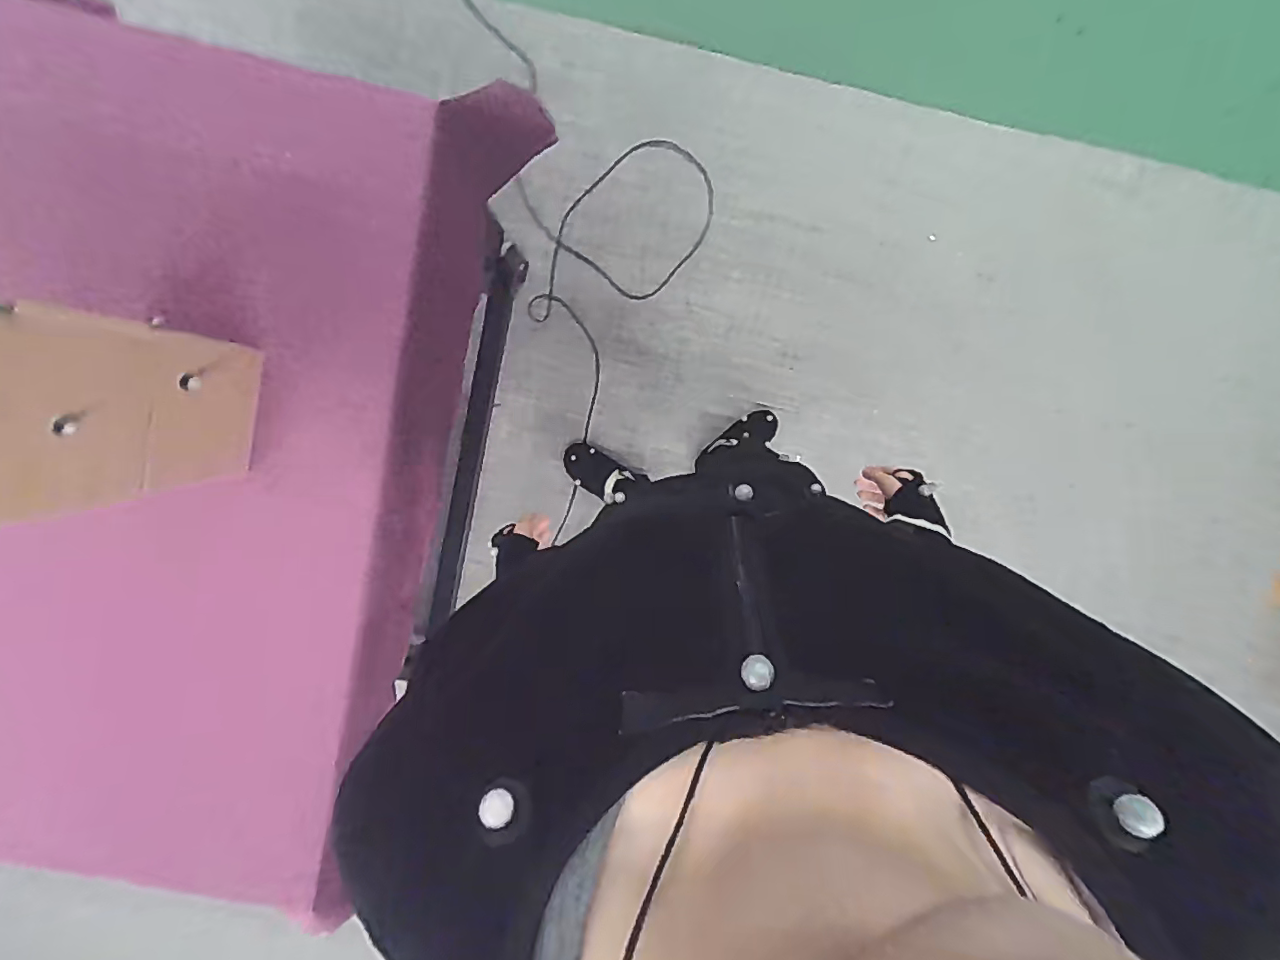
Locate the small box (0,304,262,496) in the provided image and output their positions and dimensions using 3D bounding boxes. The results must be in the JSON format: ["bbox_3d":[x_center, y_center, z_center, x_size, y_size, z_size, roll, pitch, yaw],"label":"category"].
[{"bbox_3d":[-0.604,-0.094,0.660,0.168,0.176,0.179,13,98,-2],"label":"small box"}]
